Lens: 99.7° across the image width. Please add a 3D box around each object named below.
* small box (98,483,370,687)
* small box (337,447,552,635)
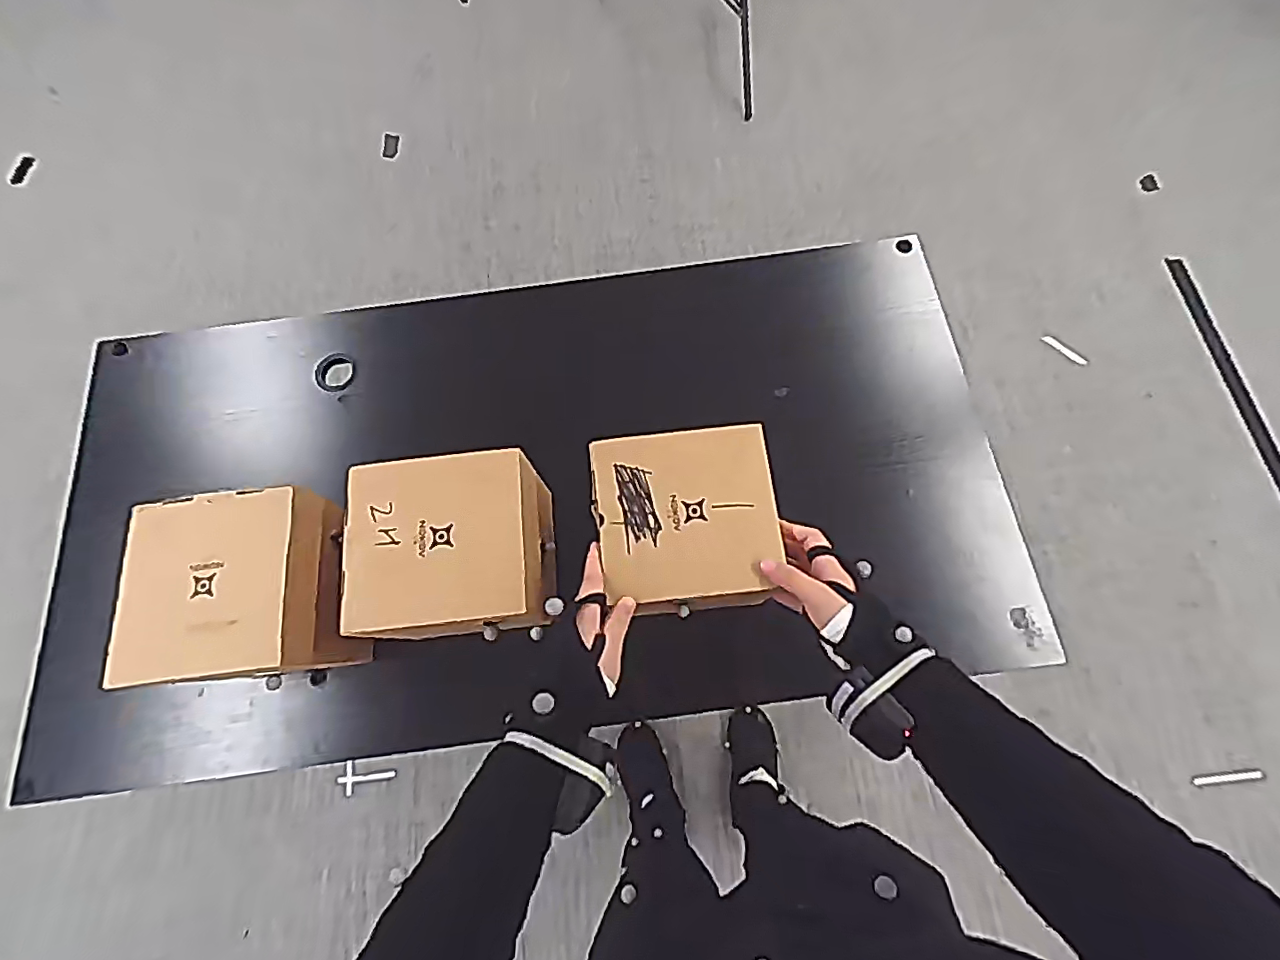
[{"bbox_3d":[-0.412,0.118,0.585,0.168,0.176,0.179,-8,73,1],"label":"small box"},{"bbox_3d":[-0.195,0.075,0.589,0.179,0.176,0.168,-7,72,0],"label":"small box"}]
